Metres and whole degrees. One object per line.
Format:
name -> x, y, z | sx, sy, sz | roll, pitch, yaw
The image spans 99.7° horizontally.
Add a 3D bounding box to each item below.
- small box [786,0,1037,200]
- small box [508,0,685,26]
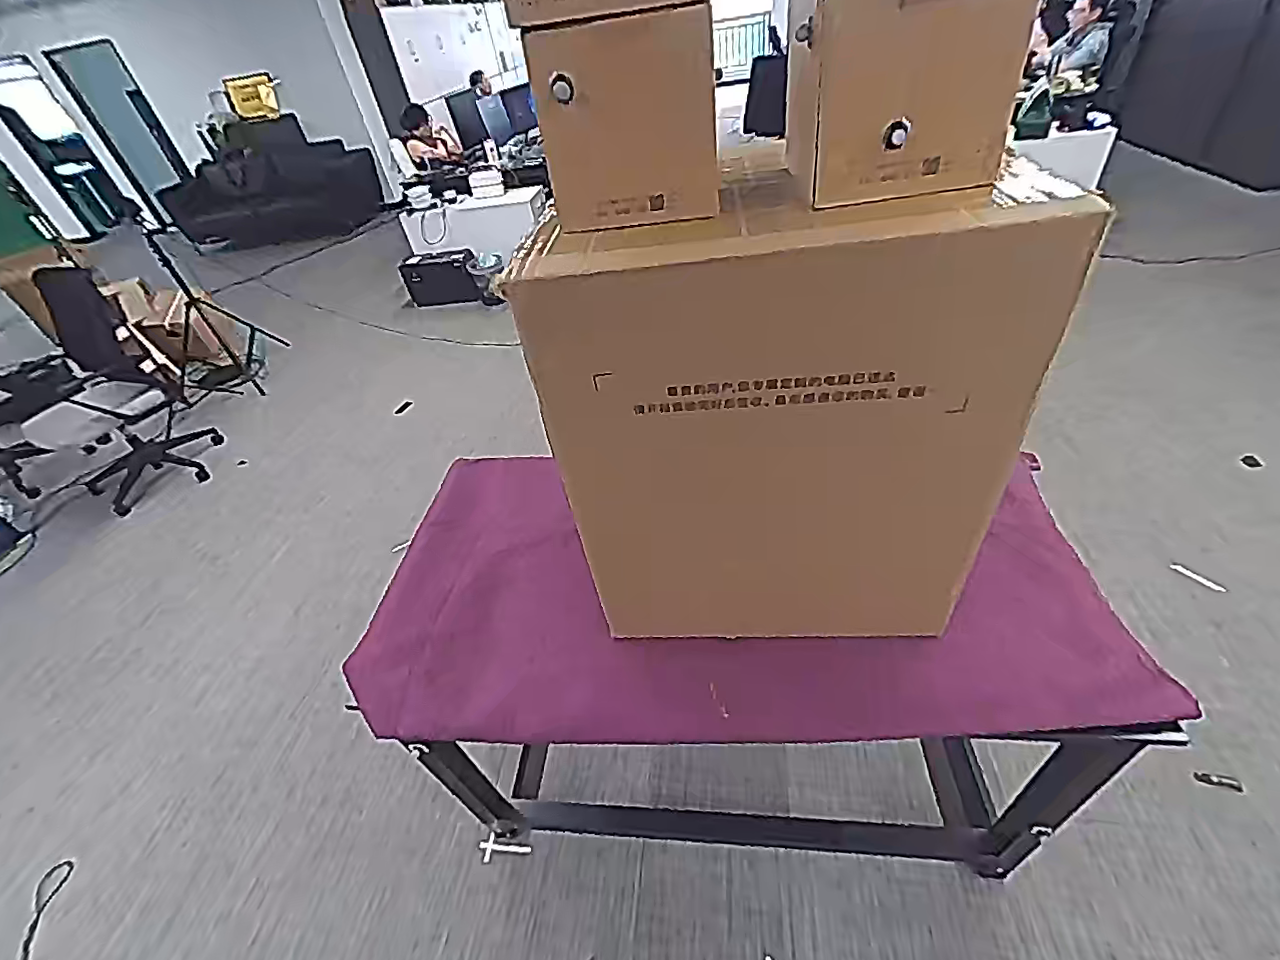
small box -> 0.238, -0.388, 0.522 | 0.168, 0.176, 0.179 | -5, 42, 8
small box -> -0.037, -0.501, 0.453 | 0.168, 0.176, 0.179 | -4, 41, 5
